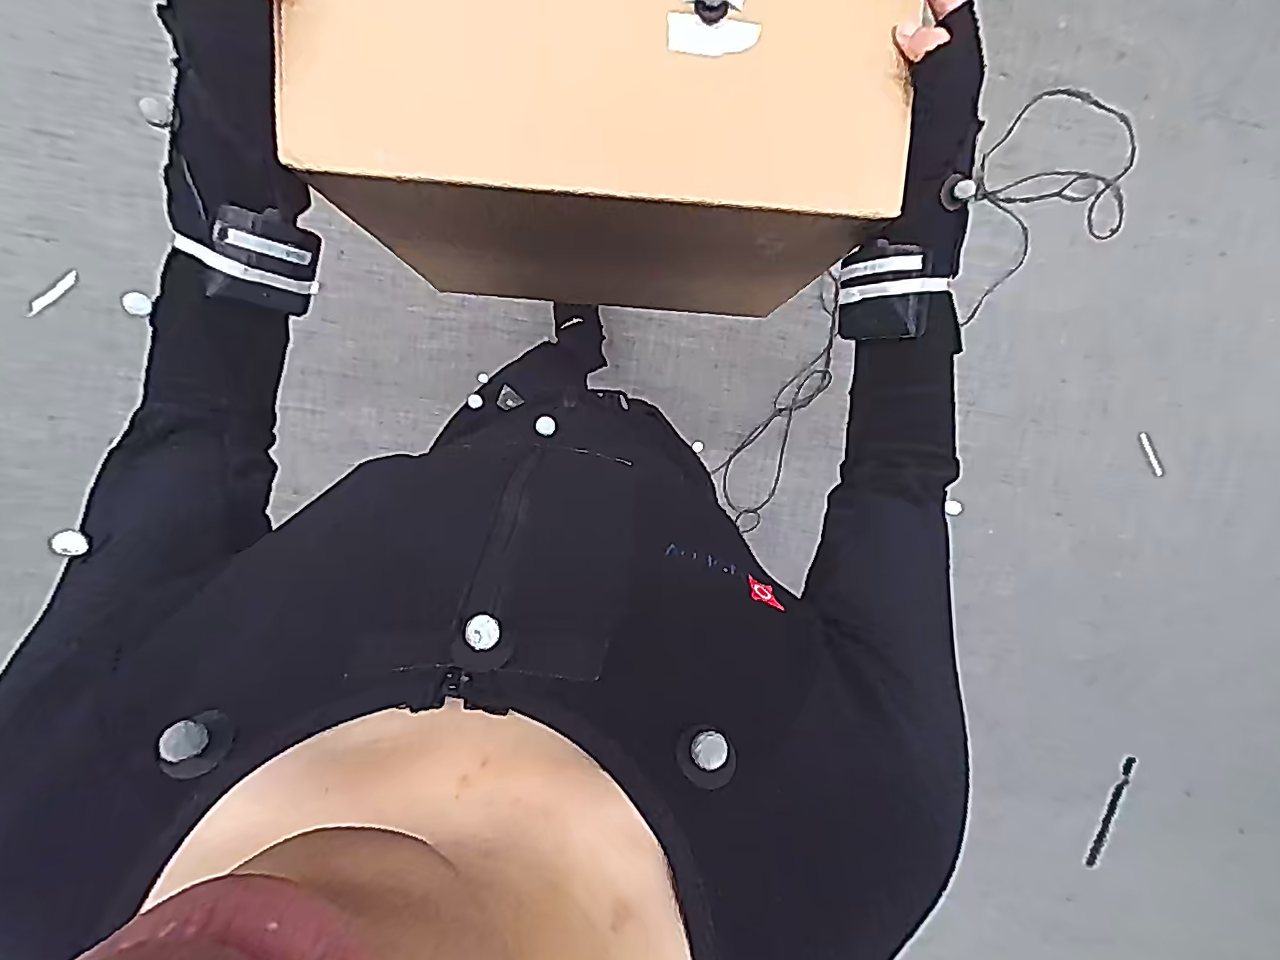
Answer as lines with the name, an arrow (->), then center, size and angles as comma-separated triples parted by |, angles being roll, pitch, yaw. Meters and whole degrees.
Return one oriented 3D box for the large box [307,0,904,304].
large box -> -0.024, -0.365, 0.506 | 0.408, 0.320, 0.320 | 3, 95, -3
